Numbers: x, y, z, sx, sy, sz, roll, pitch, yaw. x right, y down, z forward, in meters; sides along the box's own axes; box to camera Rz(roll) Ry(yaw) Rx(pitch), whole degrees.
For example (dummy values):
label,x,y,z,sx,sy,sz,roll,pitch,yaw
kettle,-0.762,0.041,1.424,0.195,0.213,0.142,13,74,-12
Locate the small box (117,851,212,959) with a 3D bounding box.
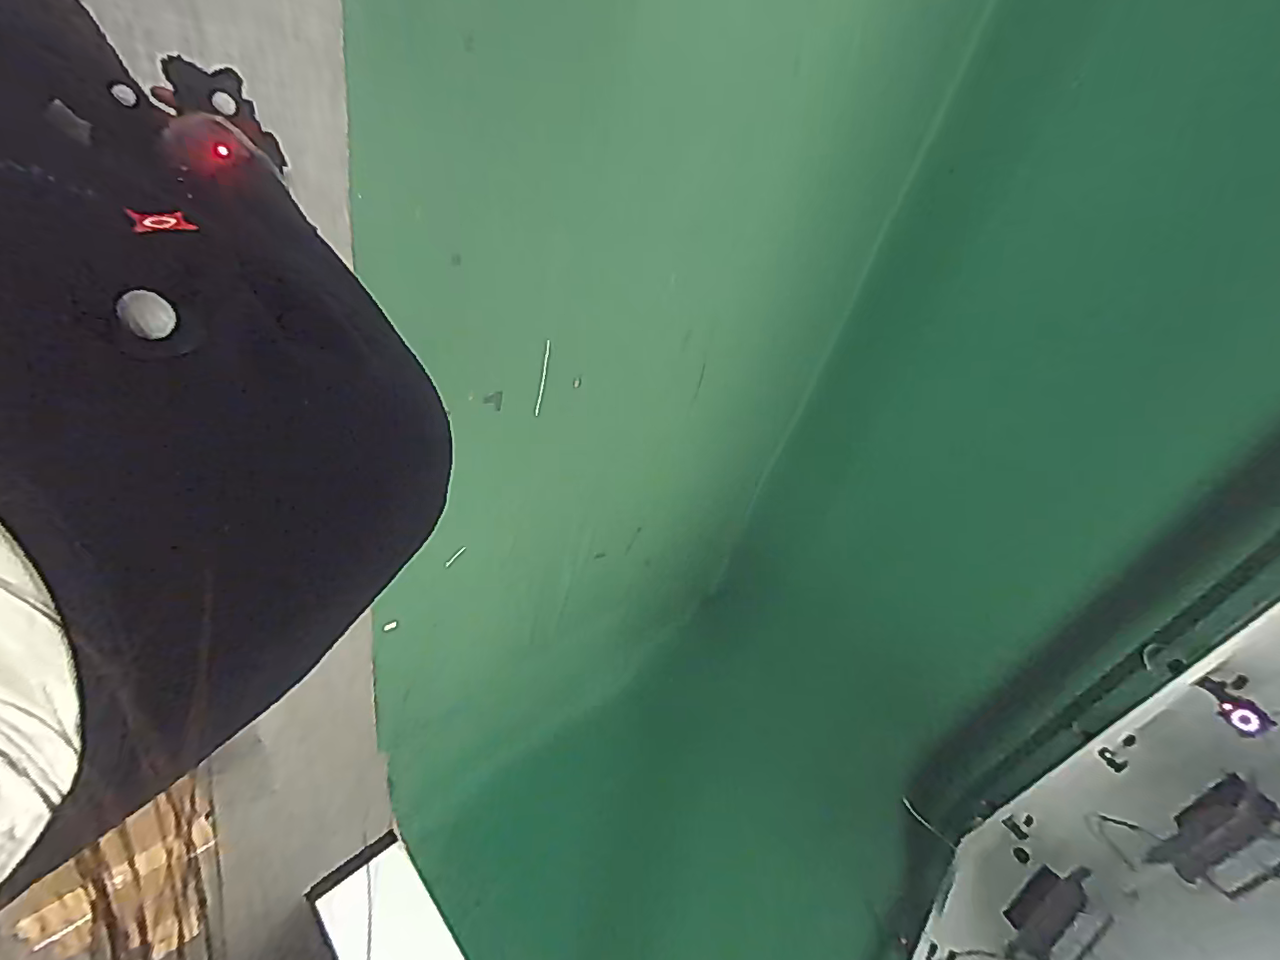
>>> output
label,x,y,z,sx,sy,sz,roll,pitch,yaw
small box,-1.379,1.240,1.565,0.179,0.176,0.168,-16,131,-47
